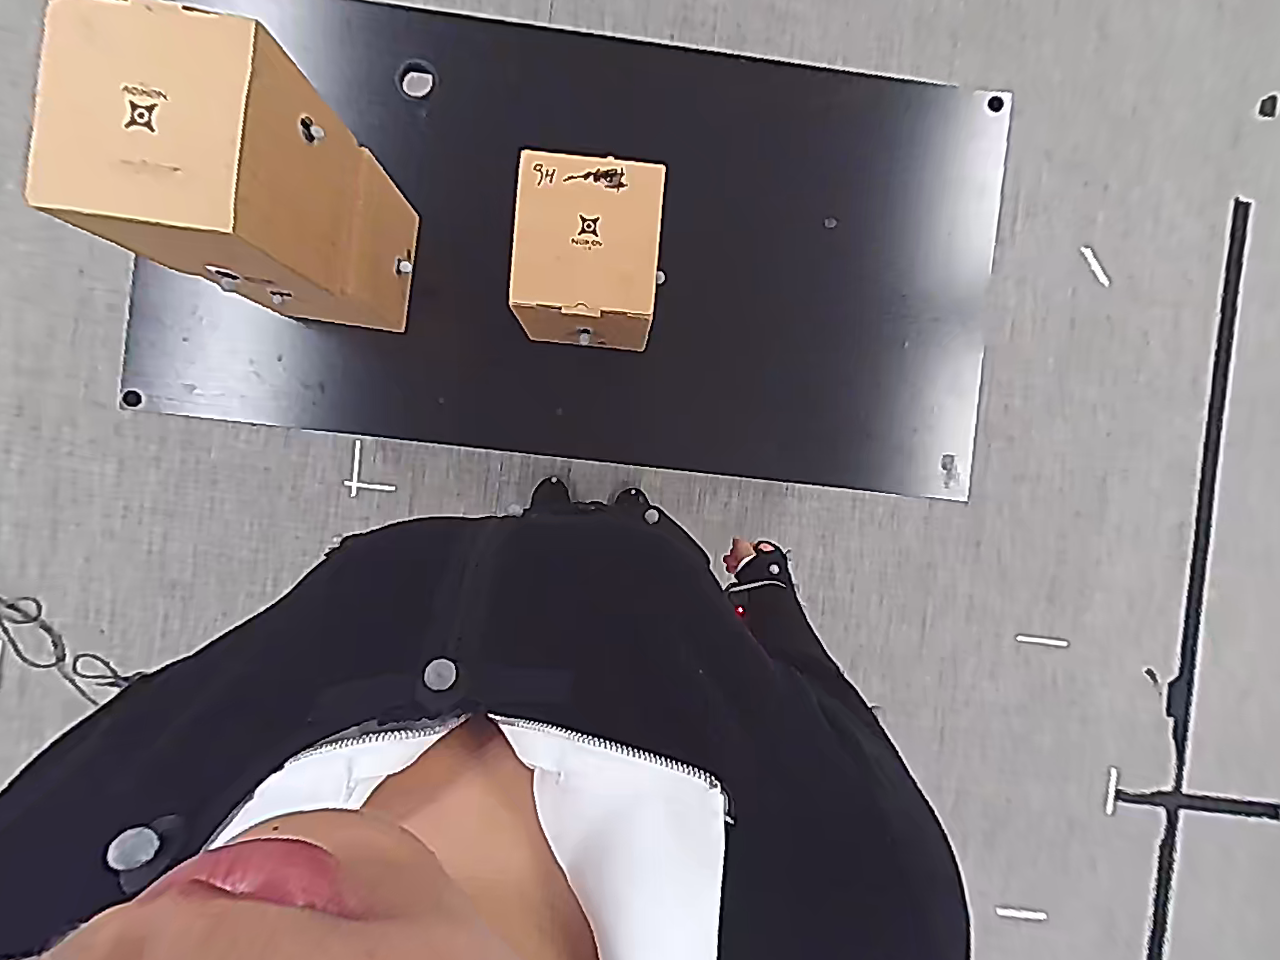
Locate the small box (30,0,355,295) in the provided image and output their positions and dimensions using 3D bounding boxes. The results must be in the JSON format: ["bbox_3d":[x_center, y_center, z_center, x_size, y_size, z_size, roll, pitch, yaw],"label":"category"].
[{"bbox_3d":[-0.397,-0.297,0.513,0.168,0.176,0.179,7,91,-1],"label":"small box"}]

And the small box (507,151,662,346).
[{"bbox_3d":[-0.065,-0.280,0.693,0.168,0.176,0.179,5,90,-2],"label":"small box"}]

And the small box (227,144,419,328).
[{"bbox_3d":[-0.402,-0.300,0.675,0.179,0.176,0.168,8,90,-4],"label":"small box"}]
